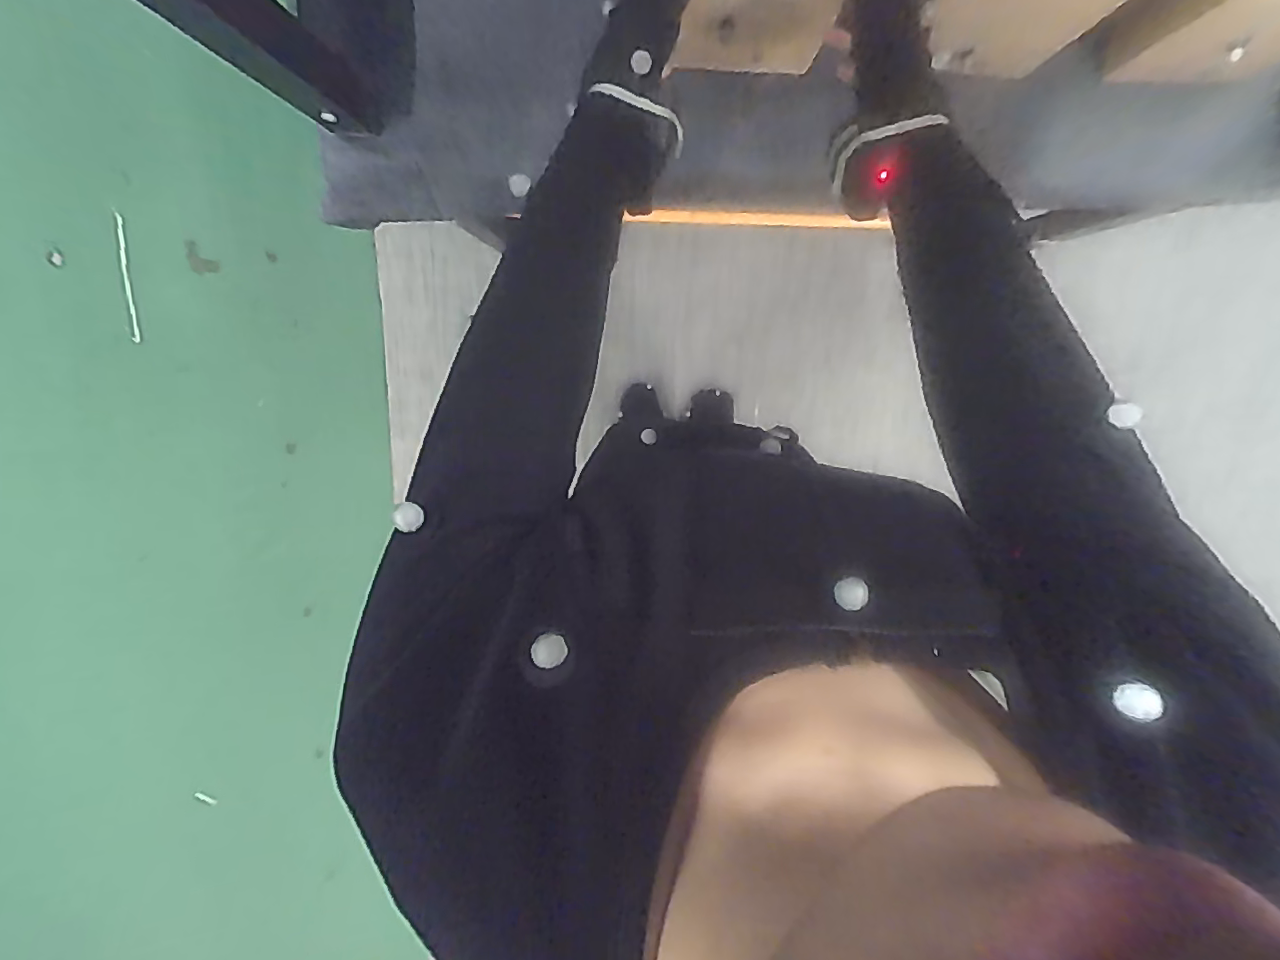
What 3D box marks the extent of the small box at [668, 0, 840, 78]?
[{"bbox_3d":[0.115,-0.538,0.539,0.168,0.176,0.179,3,103,1],"label":"small box"}]
